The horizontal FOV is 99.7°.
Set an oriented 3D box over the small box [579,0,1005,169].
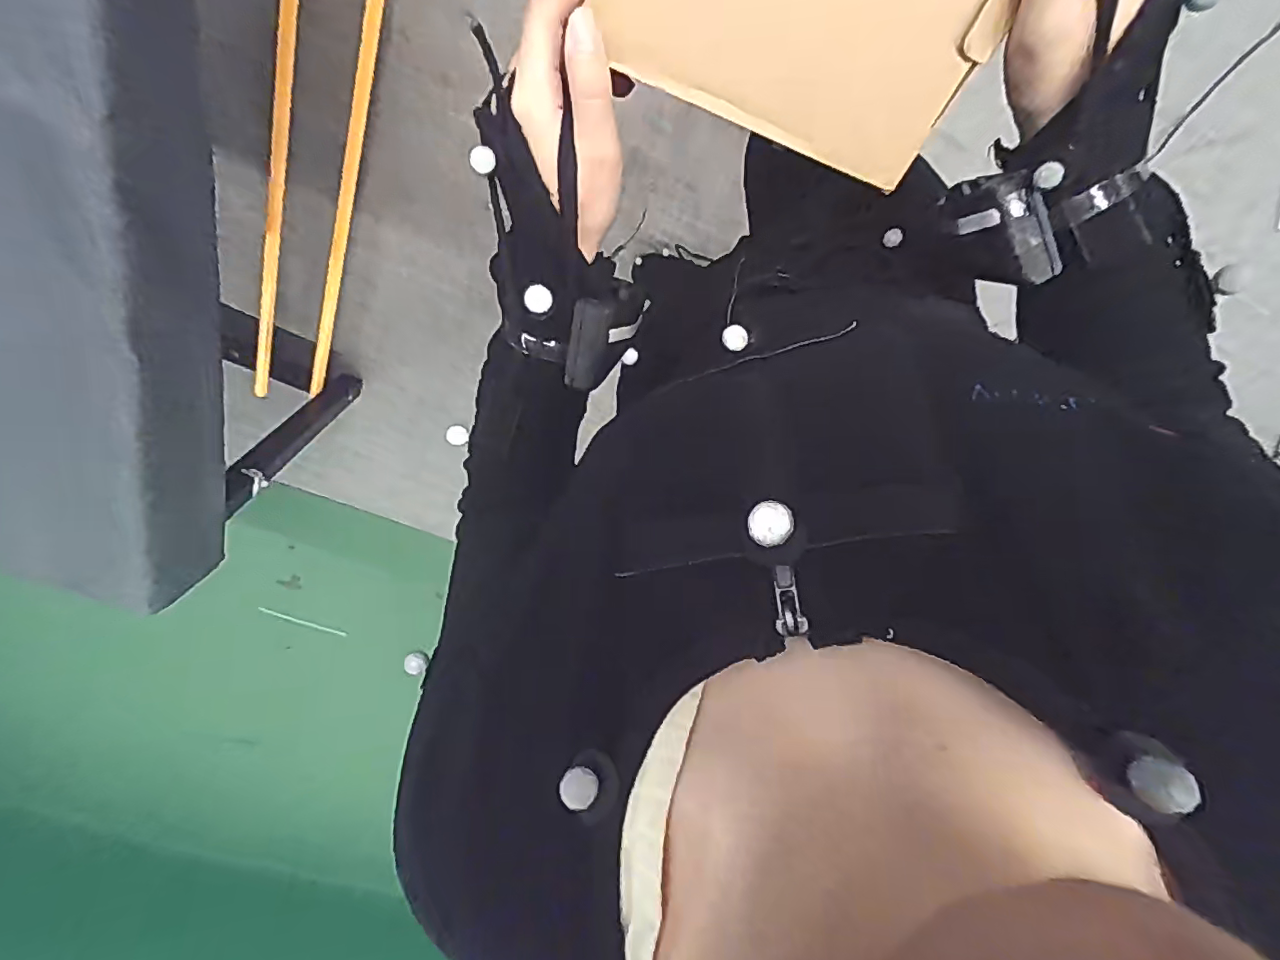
[{"bbox_3d":[0.079,-0.290,0.262,0.179,0.176,0.168,13,133,-15],"label":"small box"}]
